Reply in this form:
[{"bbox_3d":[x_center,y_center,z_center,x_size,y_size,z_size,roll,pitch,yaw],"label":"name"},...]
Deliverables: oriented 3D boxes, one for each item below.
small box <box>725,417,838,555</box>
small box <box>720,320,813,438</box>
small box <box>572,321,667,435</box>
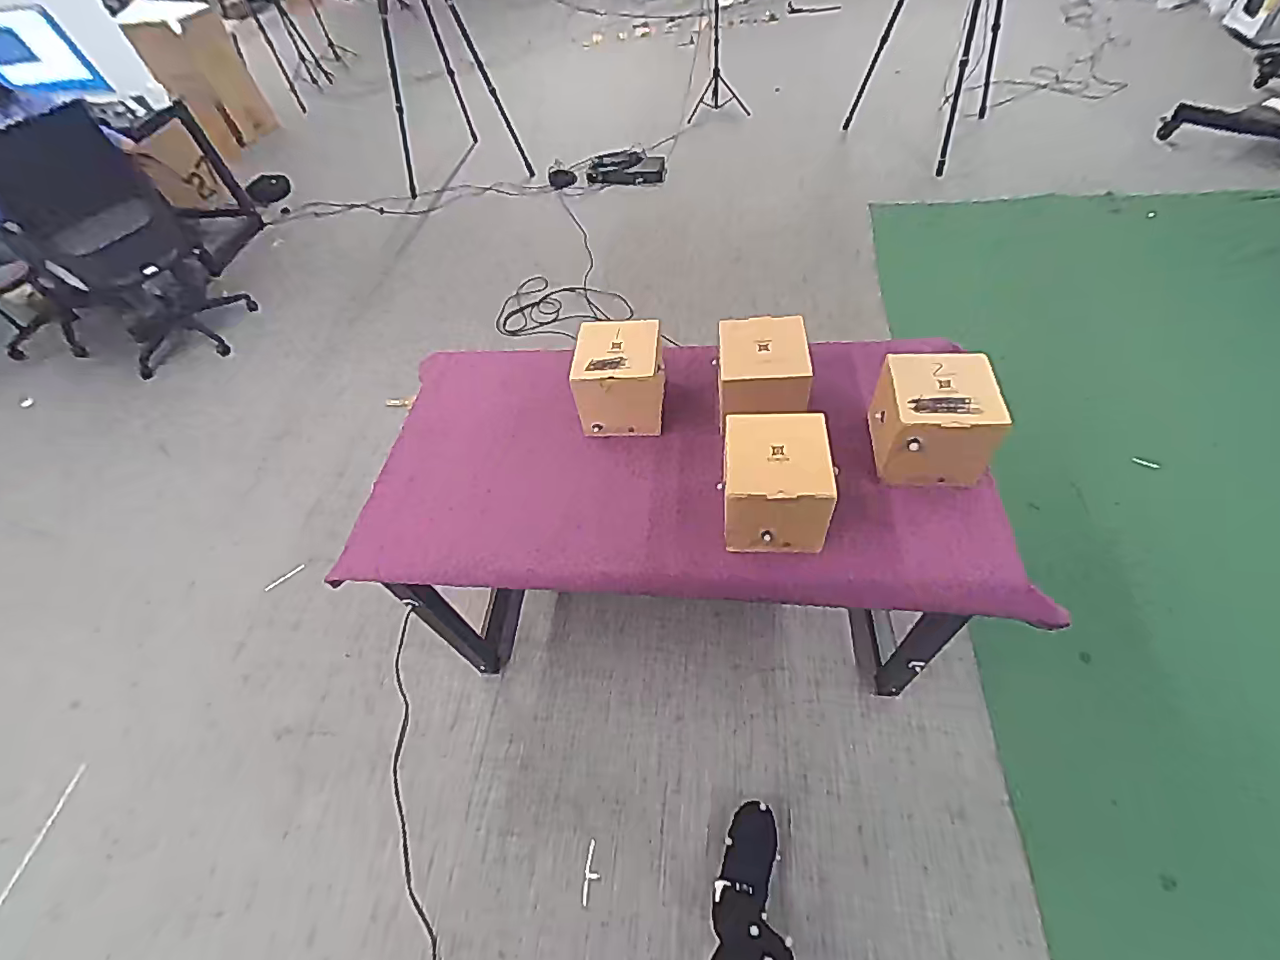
[{"bbox_3d":[0.234,0.011,0.937,0.168,0.176,0.179,1,53,8],"label":"small box"},{"bbox_3d":[0.248,-0.201,1.095,0.168,0.176,0.179,0,54,8],"label":"small box"},{"bbox_3d":[-0.034,-0.209,1.135,0.168,0.176,0.179,1,53,8],"label":"small box"}]
